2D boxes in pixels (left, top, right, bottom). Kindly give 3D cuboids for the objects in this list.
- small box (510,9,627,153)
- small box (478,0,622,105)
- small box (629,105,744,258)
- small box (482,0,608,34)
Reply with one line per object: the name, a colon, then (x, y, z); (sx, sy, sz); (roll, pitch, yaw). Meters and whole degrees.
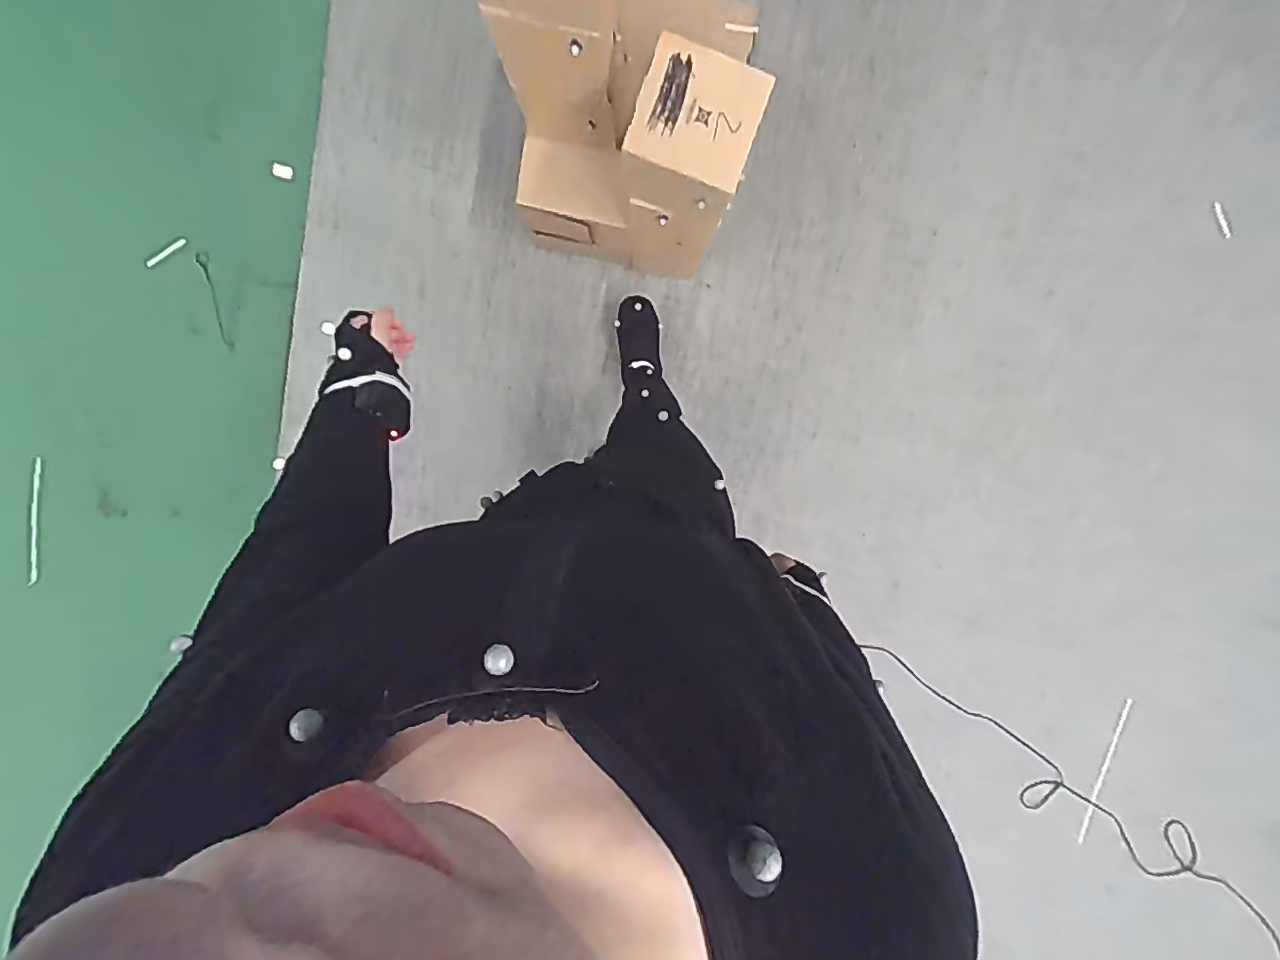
small box: (-0.122, -0.730, 0.989); (0.179, 0.176, 0.168); (9, 96, -1)
small box: (-0.127, -0.715, 0.827); (0.179, 0.176, 0.168); (10, 95, -3)
small box: (0.077, -0.543, 1.010); (0.168, 0.176, 0.179); (15, 96, -3)
small box: (-0.116, -0.700, 0.663); (0.179, 0.176, 0.168); (12, 95, -2)
